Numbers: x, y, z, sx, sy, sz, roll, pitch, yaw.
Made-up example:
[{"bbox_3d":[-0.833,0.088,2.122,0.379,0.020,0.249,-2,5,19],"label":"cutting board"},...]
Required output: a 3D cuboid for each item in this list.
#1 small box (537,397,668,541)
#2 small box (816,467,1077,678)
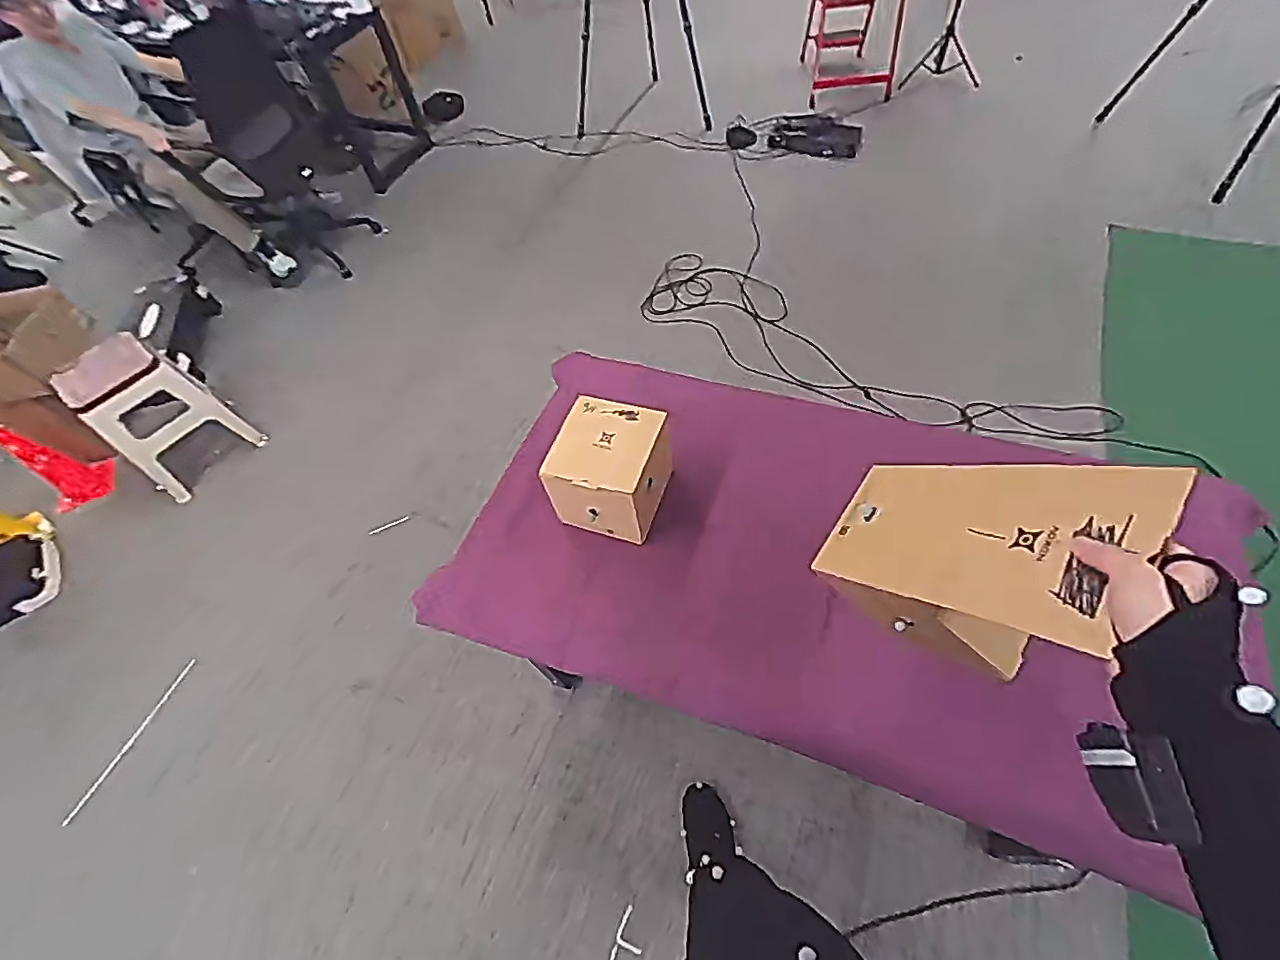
[{"bbox_3d":[-0.053,-0.015,0.951,0.168,0.176,0.179,14,60,15],"label":"small box"},{"bbox_3d":[0.353,0.097,0.646,0.179,0.176,0.168,37,80,-14],"label":"small box"}]
